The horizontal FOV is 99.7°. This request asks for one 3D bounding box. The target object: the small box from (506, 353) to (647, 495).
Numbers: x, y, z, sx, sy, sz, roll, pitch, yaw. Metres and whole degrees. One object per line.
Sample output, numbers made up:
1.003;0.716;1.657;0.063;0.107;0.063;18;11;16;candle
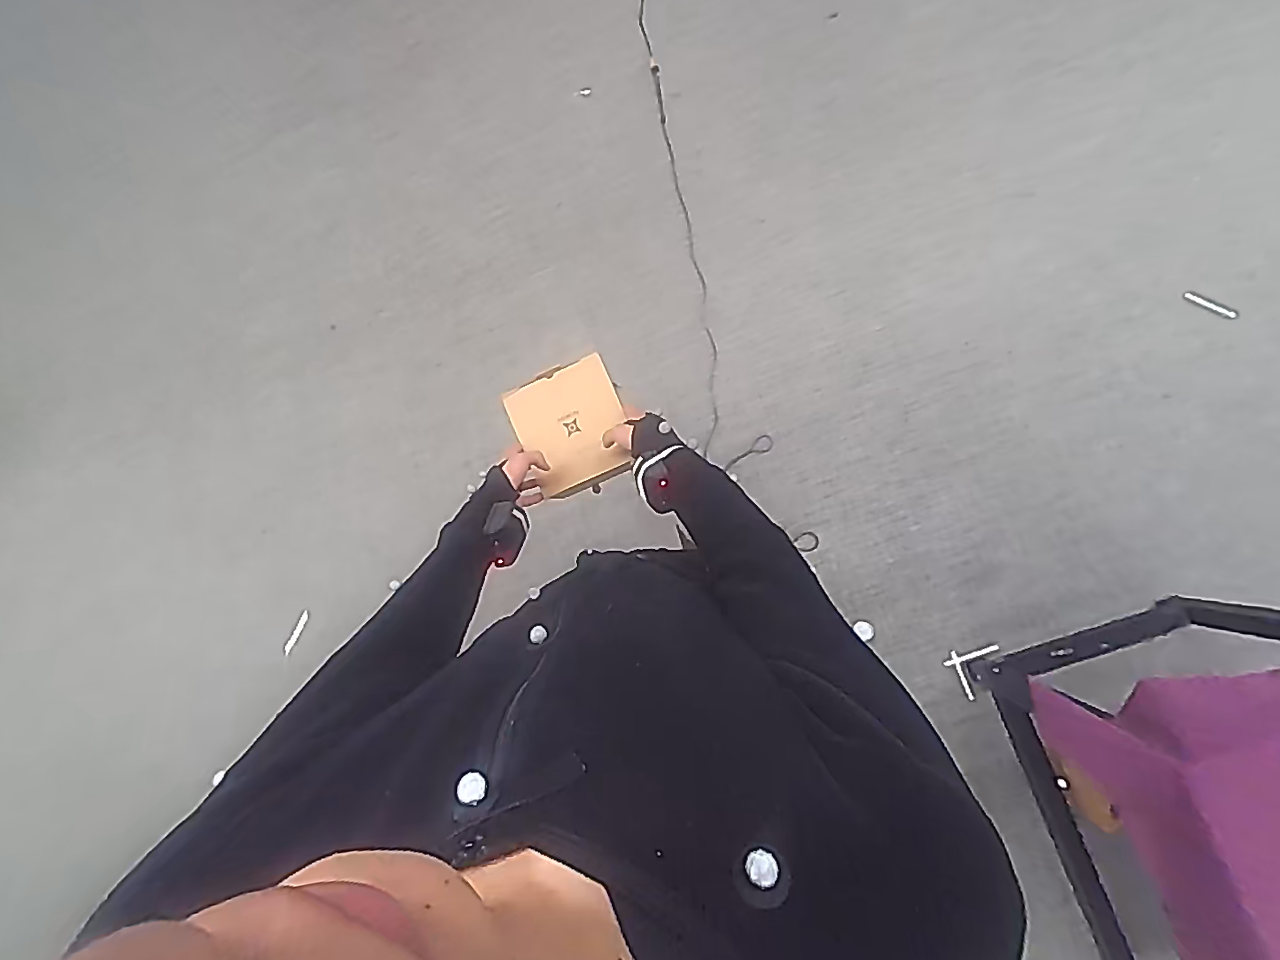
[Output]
-0.096;-0.081;0.894;0.168;0.176;0.179;-23;87;2;small box
